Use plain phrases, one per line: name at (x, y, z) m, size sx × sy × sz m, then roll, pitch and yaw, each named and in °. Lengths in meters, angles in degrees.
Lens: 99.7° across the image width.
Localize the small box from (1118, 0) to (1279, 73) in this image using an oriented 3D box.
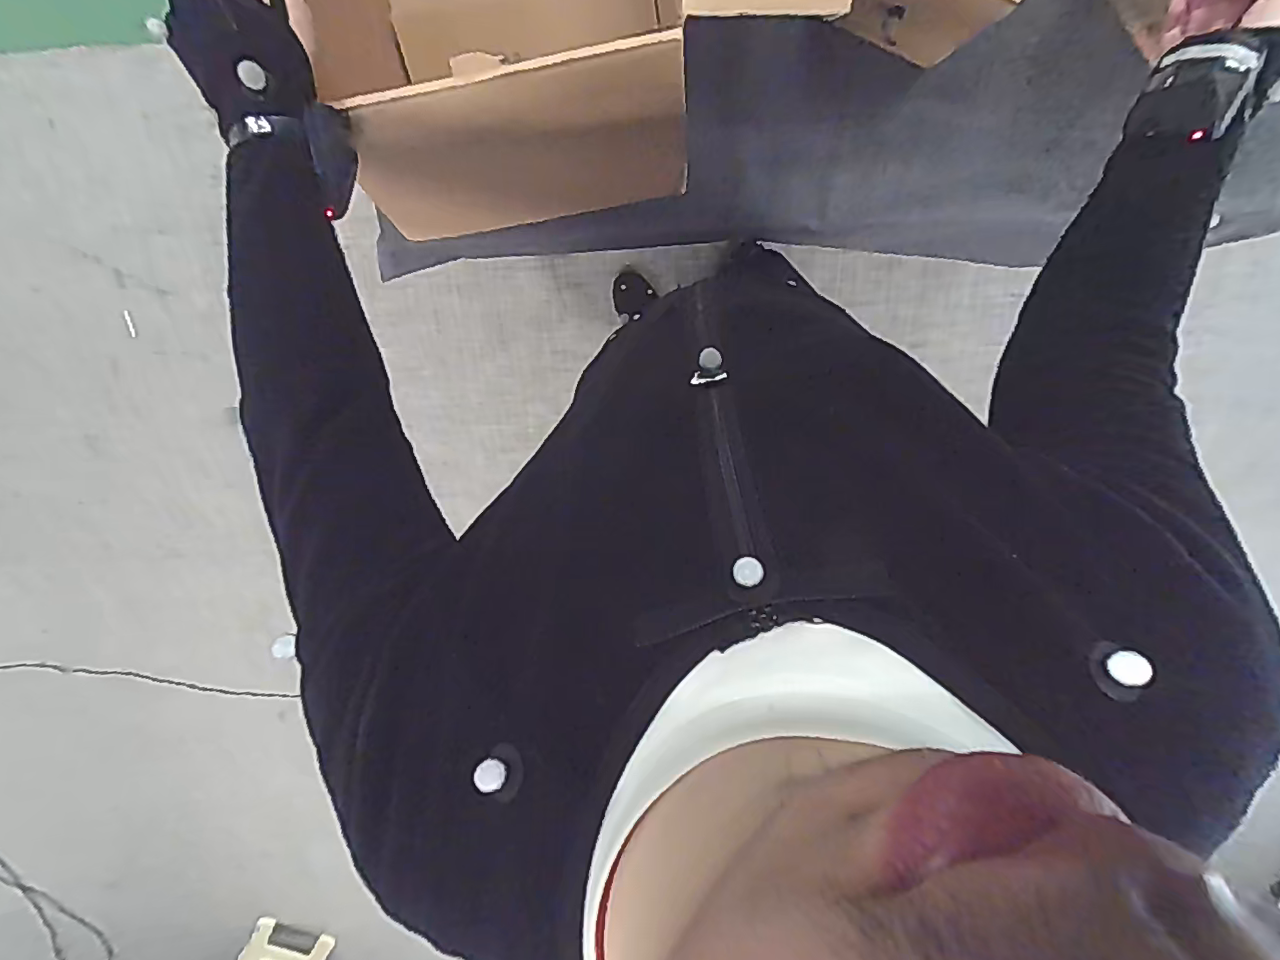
small box at (0.543, -0.488, 0.451) m, size 0.168 × 0.176 × 0.179 m, roll 34°, pitch 113°, yaw -18°
